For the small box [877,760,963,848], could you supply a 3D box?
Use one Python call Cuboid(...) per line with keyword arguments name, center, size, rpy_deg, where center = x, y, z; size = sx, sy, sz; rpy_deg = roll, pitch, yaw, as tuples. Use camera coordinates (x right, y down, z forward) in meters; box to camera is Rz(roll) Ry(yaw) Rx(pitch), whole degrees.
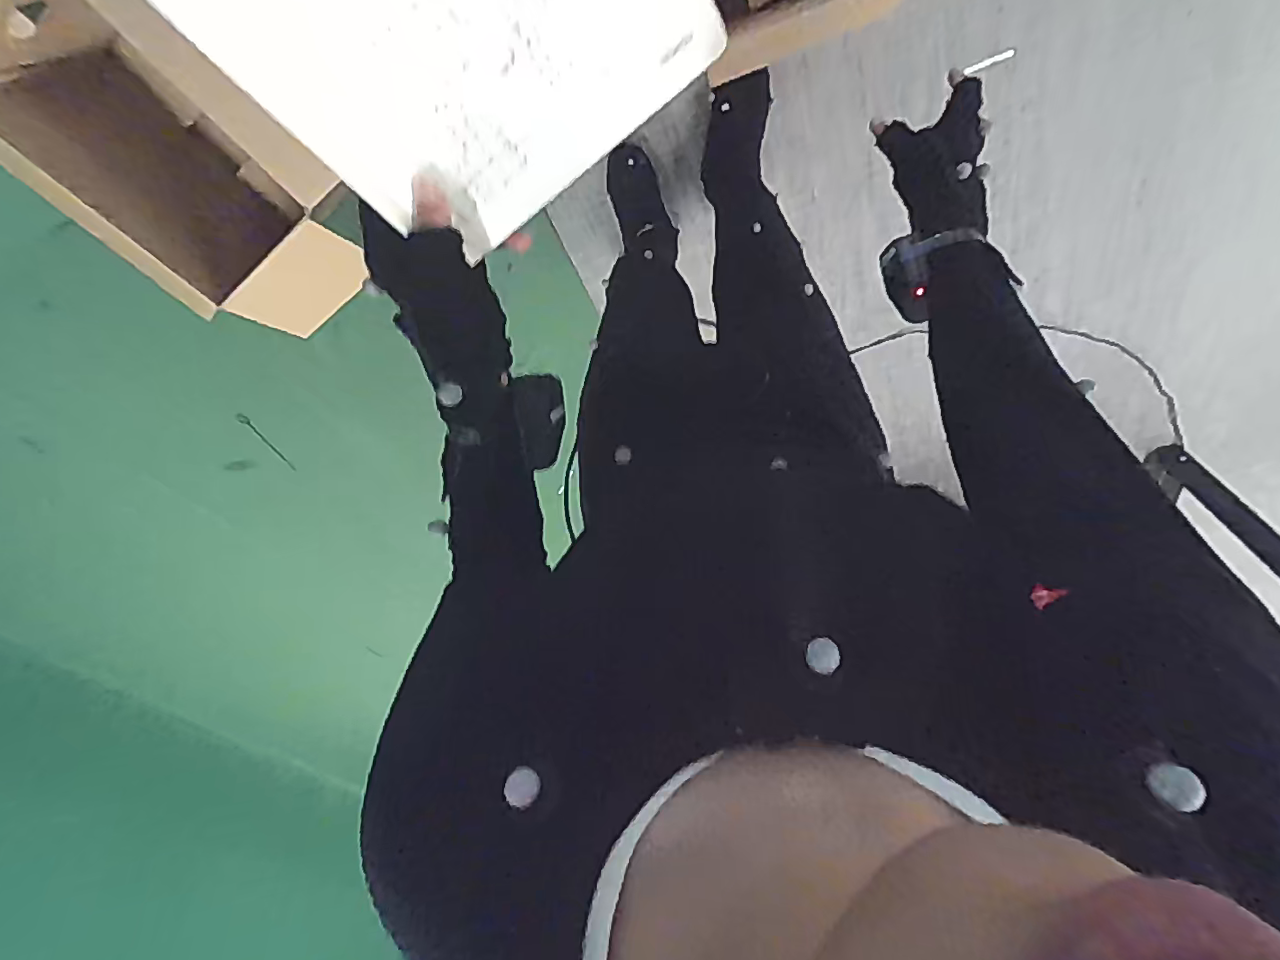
Cuboid(name="small box", center=(0.755, 0.876, 1.471), size=(0.168, 0.176, 0.179), rpy_deg=(-14, 132, 15))
